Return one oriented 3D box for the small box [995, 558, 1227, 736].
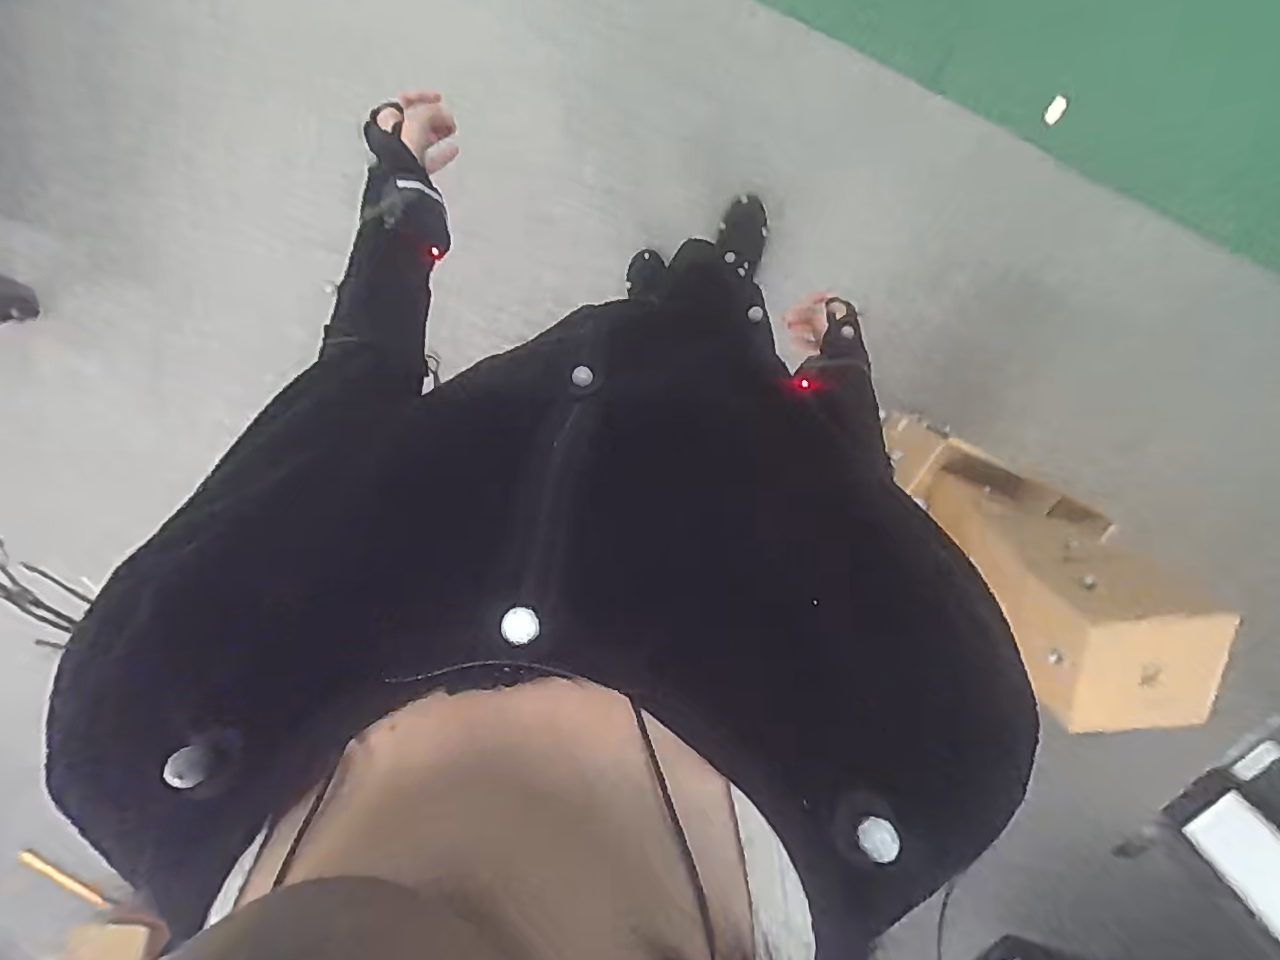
[{"bbox_3d":[0.628,0.220,0.750,0.168,0.176,0.179,-6,112,5],"label":"small box"}]
